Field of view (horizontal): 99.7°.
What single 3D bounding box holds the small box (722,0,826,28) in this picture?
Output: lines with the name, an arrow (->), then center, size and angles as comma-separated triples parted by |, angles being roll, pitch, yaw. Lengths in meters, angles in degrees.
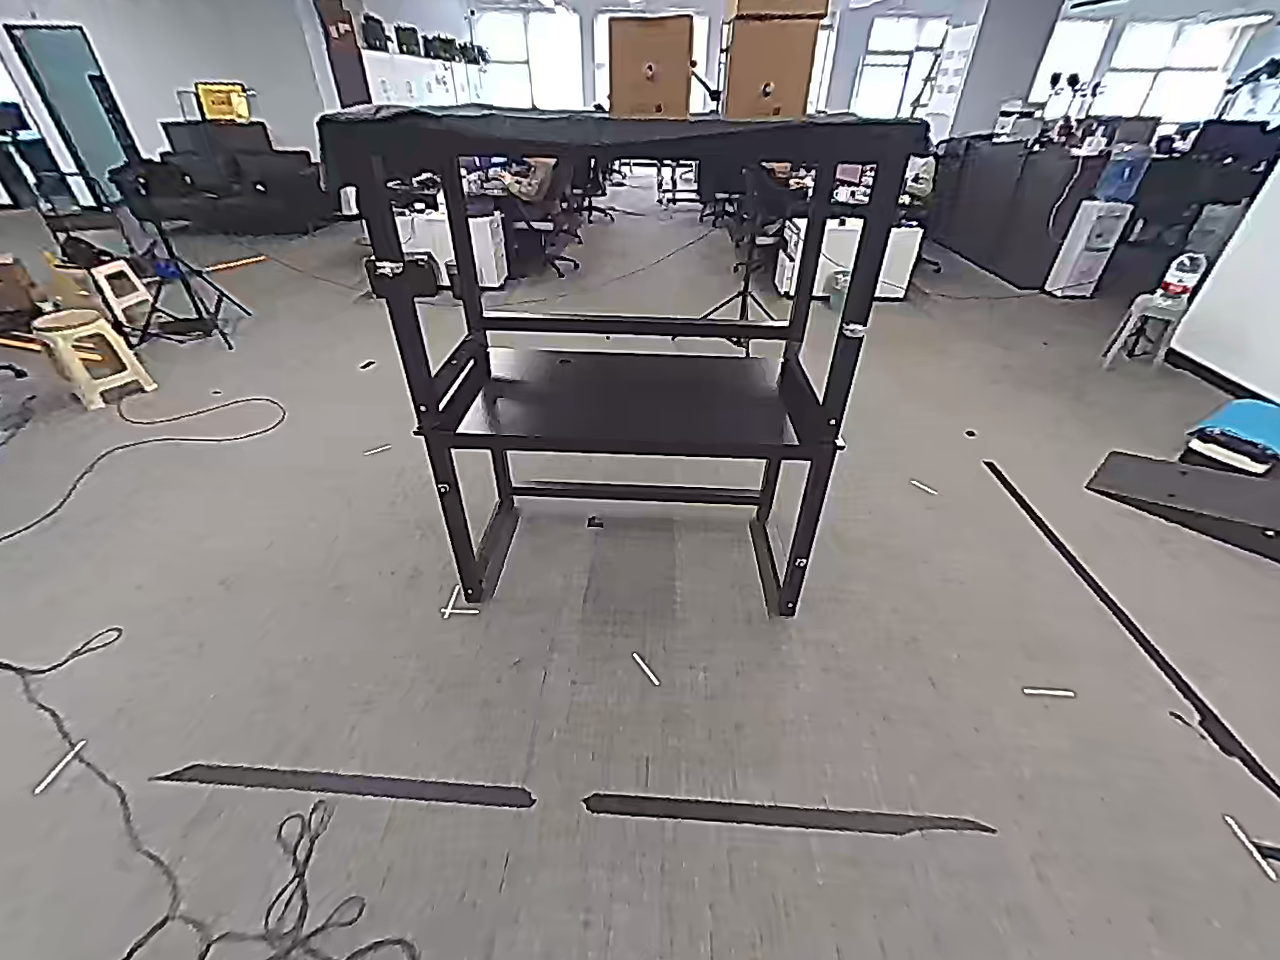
small box -> 0.261, -0.977, 1.030 | 0.179, 0.176, 0.168 | 1, 34, -2

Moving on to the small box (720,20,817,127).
small box -> 0.259, -0.847, 1.136 | 0.168, 0.176, 0.179 | 2, 35, 3

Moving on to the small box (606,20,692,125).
small box -> 0.023, -0.858, 1.148 | 0.168, 0.176, 0.179 | 4, 35, 4
